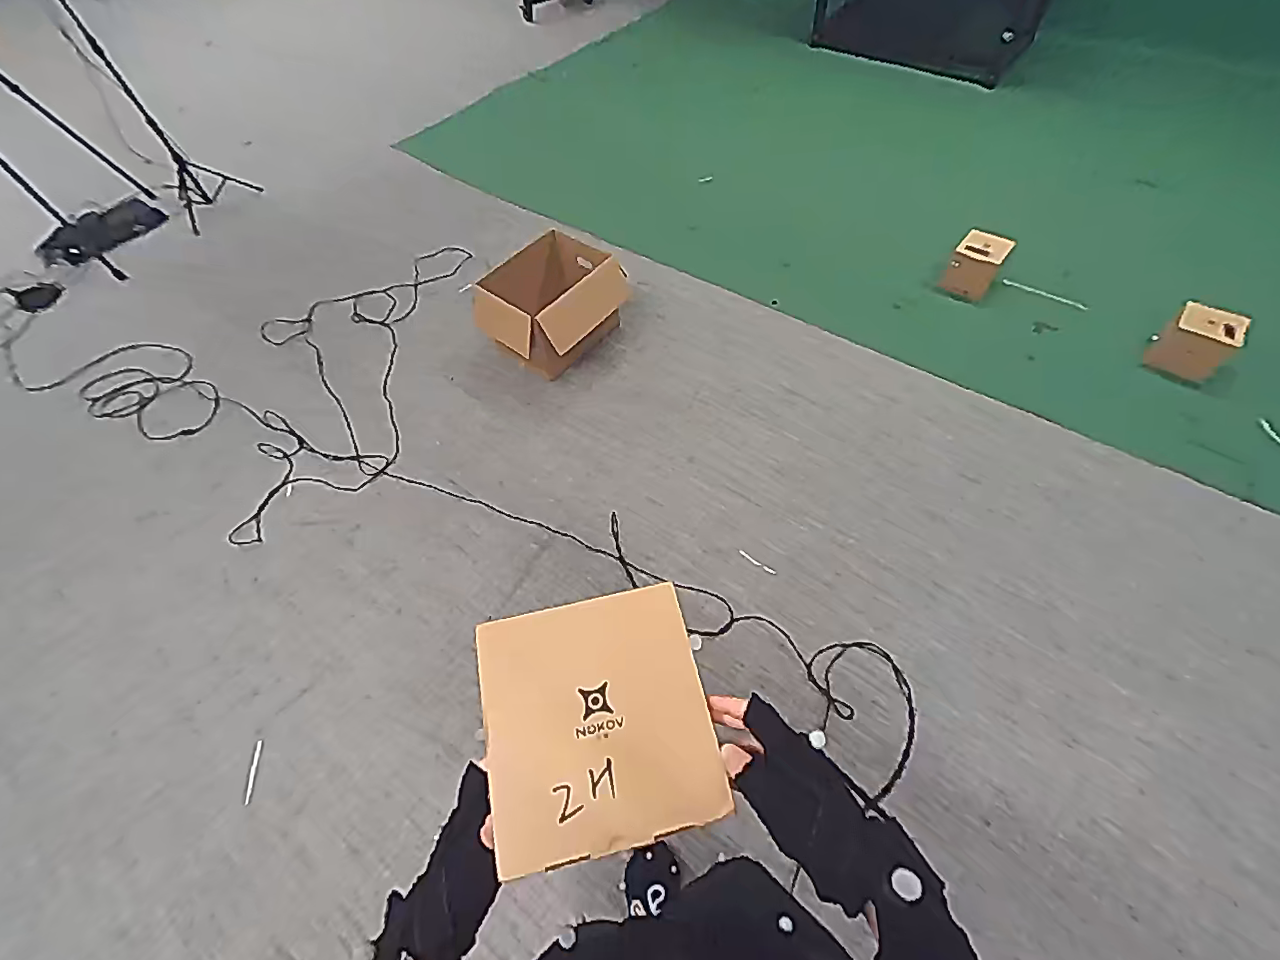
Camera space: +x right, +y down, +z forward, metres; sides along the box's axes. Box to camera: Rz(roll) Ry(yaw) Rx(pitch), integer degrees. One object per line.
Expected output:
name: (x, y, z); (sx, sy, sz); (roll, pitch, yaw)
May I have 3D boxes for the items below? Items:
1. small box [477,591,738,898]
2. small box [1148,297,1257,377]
small box: (-0.033, 0.218, 0.460); (0.168, 0.176, 0.179); (-11, 61, -7)
small box: (1.874, -0.472, 1.806); (0.179, 0.176, 0.168); (33, 64, 23)
